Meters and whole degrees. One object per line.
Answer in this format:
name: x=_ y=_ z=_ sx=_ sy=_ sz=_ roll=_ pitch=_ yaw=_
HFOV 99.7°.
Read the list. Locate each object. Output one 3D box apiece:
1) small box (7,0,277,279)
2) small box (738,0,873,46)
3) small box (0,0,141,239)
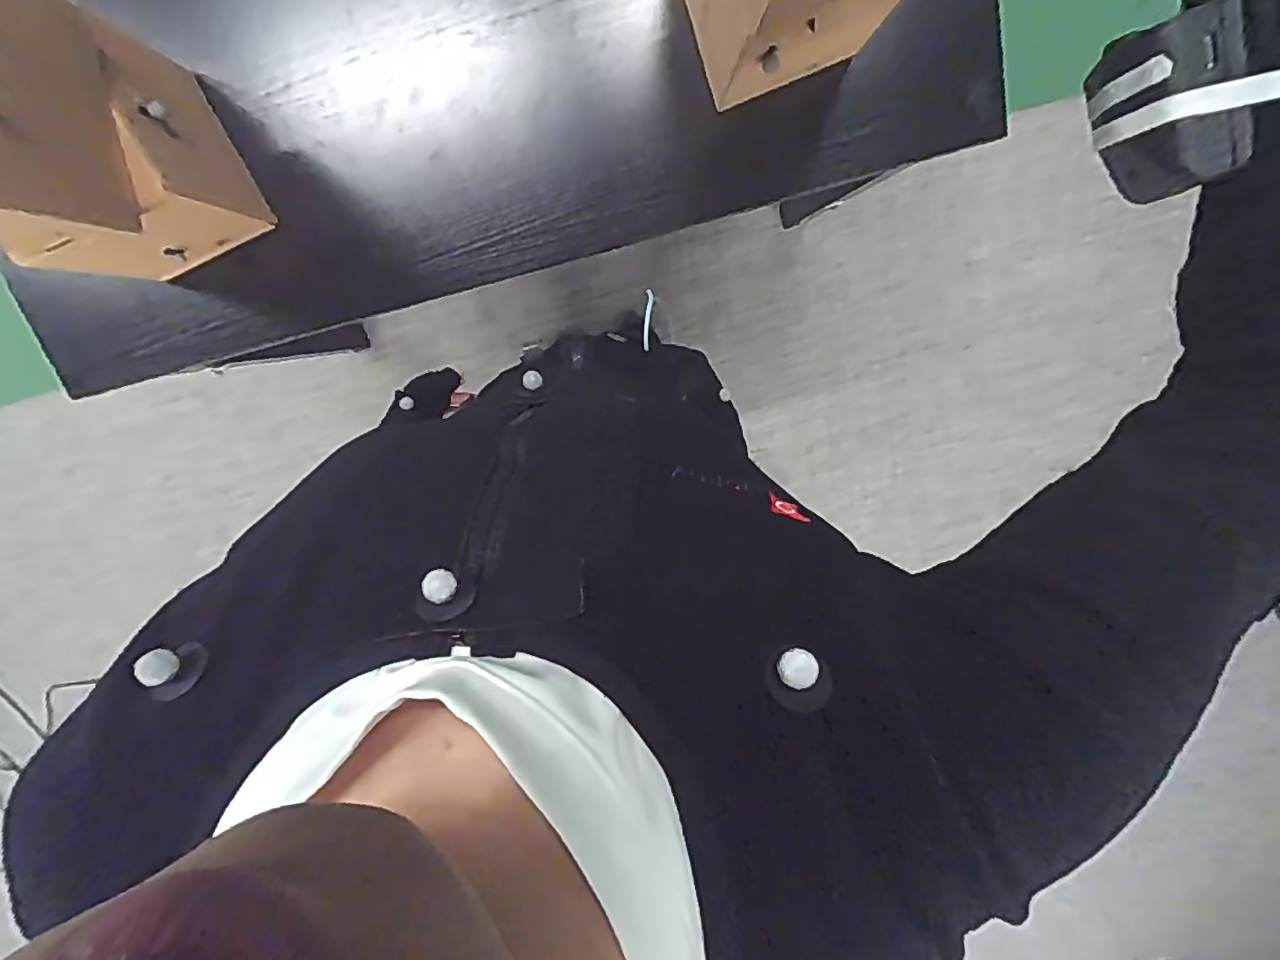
small box: x=-0.533 y=-0.326 z=0.555 sx=0.168 sy=0.176 sz=0.179 roll=-23 pitch=106 yaw=4
small box: x=0.142 y=-0.456 z=0.365 sx=0.168 sy=0.176 sz=0.179 roll=-22 pitch=105 yaw=5
small box: x=-0.531 y=-0.279 z=0.397 sx=0.168 sy=0.176 sz=0.179 roll=-2 pitch=106 yaw=-2
